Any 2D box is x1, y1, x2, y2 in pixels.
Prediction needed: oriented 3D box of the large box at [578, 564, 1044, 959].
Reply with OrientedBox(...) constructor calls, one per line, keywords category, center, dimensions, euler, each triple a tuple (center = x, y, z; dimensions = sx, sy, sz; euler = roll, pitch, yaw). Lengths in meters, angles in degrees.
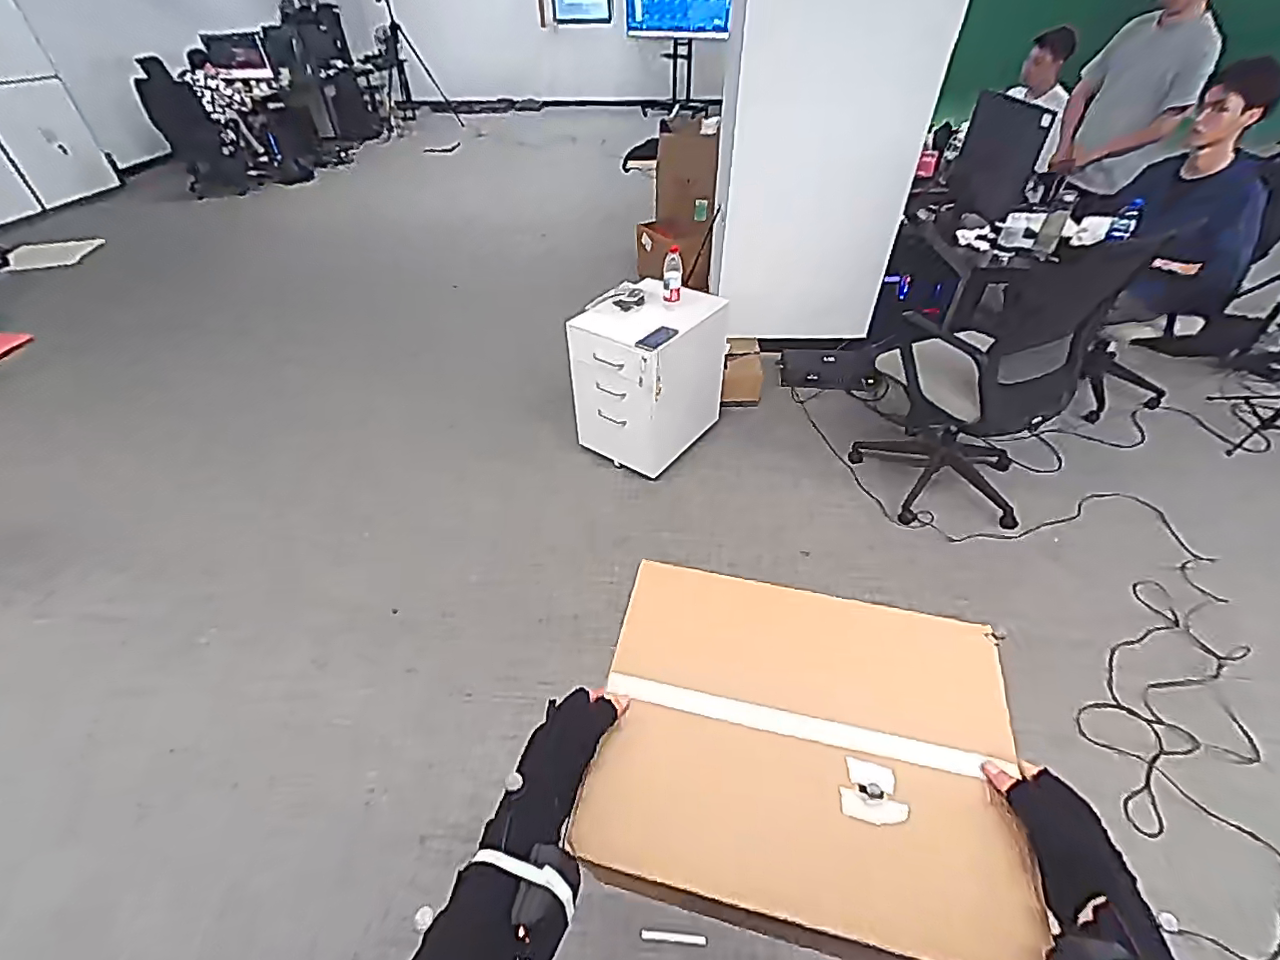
OrientedBox(category="large box", center=(0.167, 0.343, 0.670), dimensions=(0.408, 0.320, 0.320), euler=(9, 52, 9))
